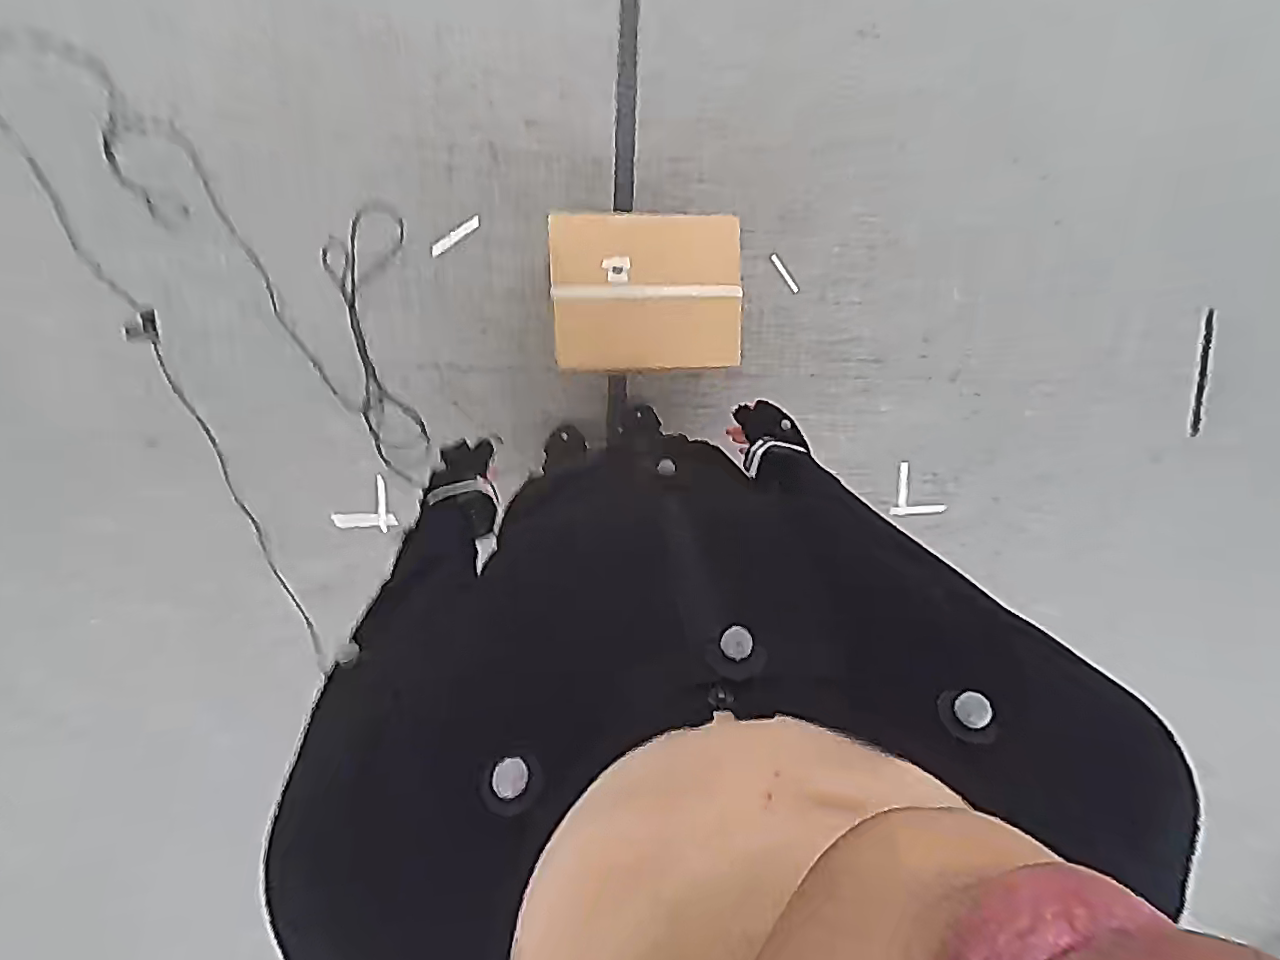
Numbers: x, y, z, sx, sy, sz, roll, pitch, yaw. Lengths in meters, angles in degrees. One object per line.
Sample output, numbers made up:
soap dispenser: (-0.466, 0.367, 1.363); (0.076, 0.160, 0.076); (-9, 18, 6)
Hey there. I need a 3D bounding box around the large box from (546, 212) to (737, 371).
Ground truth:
large box: (-0.006, -0.425, 1.287); (0.408, 0.320, 0.320); (-3, 98, -8)
